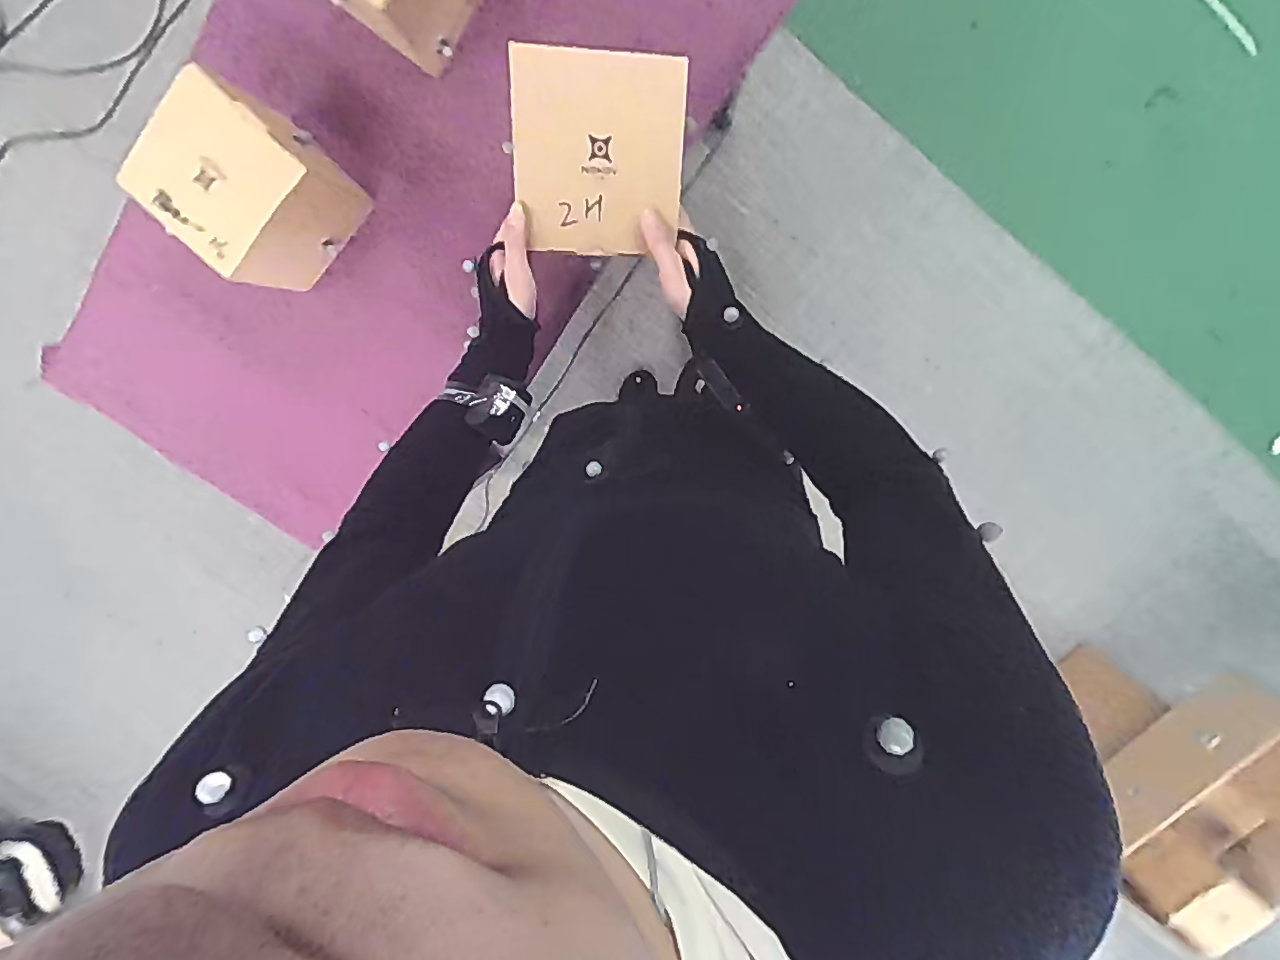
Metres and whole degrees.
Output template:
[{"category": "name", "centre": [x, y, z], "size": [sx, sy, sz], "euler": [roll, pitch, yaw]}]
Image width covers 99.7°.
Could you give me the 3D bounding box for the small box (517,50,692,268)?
[{"category": "small box", "centre": [-0.044, -0.335, 0.601], "size": [0.168, 0.176, 0.179], "euler": [2, 112, -5]}]

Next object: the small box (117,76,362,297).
[{"category": "small box", "centre": [-0.511, -0.370, 0.724], "size": [0.168, 0.176, 0.179], "euler": [43, 101, -9]}]

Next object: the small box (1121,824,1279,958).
[{"category": "small box", "centre": [1.361, 0.997, 1.324], "size": [0.179, 0.176, 0.168], "euler": [38, 102, -6]}]
